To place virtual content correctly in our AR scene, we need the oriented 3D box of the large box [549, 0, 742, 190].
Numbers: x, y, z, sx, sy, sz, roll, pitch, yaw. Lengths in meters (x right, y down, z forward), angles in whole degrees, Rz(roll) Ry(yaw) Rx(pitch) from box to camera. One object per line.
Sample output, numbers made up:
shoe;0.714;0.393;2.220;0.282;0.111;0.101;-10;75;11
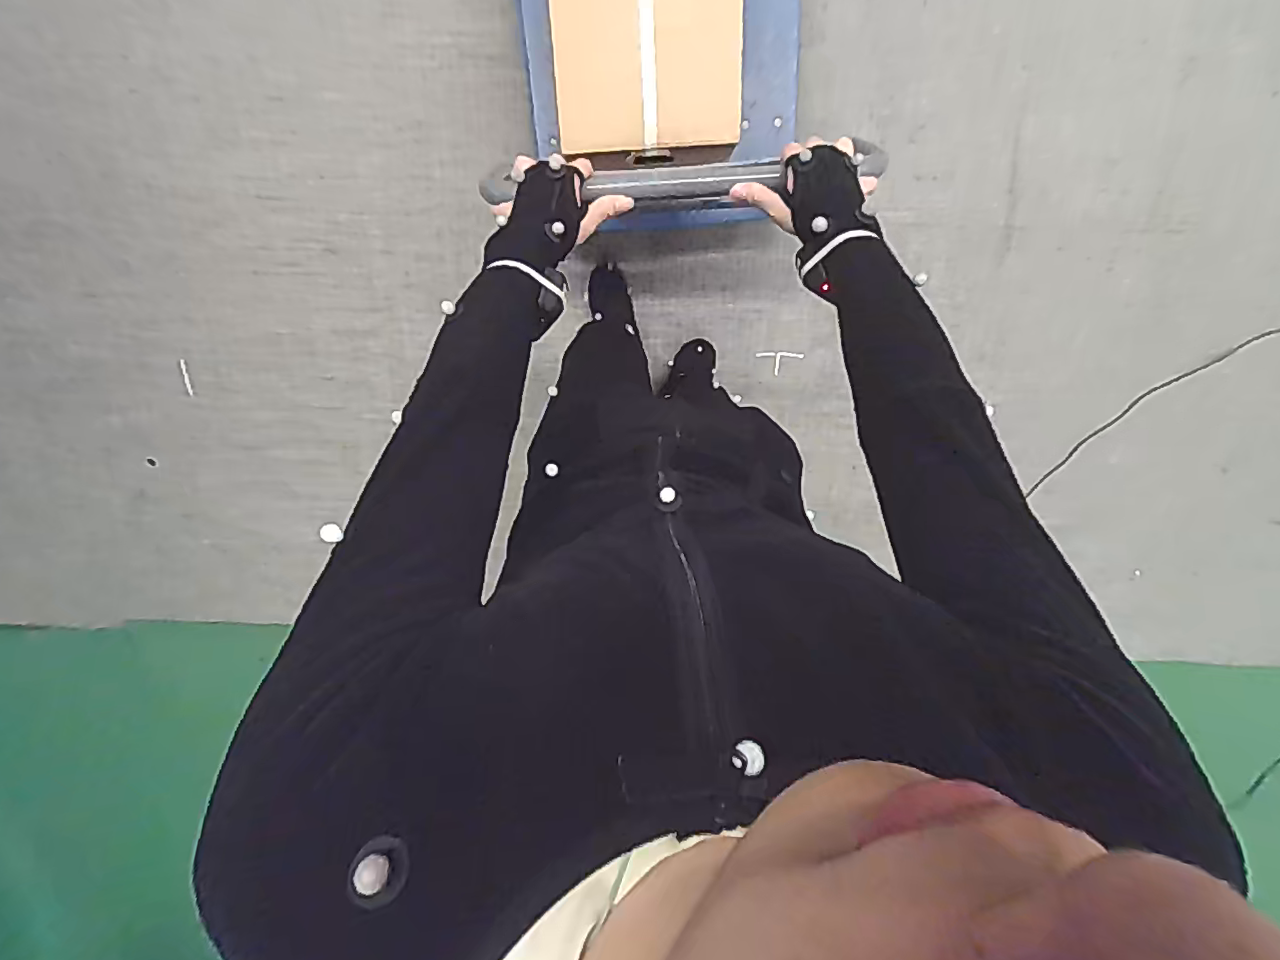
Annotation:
large box;0.014;-0.806;1.019;0.320;0.320;0.408;-2;109;3
